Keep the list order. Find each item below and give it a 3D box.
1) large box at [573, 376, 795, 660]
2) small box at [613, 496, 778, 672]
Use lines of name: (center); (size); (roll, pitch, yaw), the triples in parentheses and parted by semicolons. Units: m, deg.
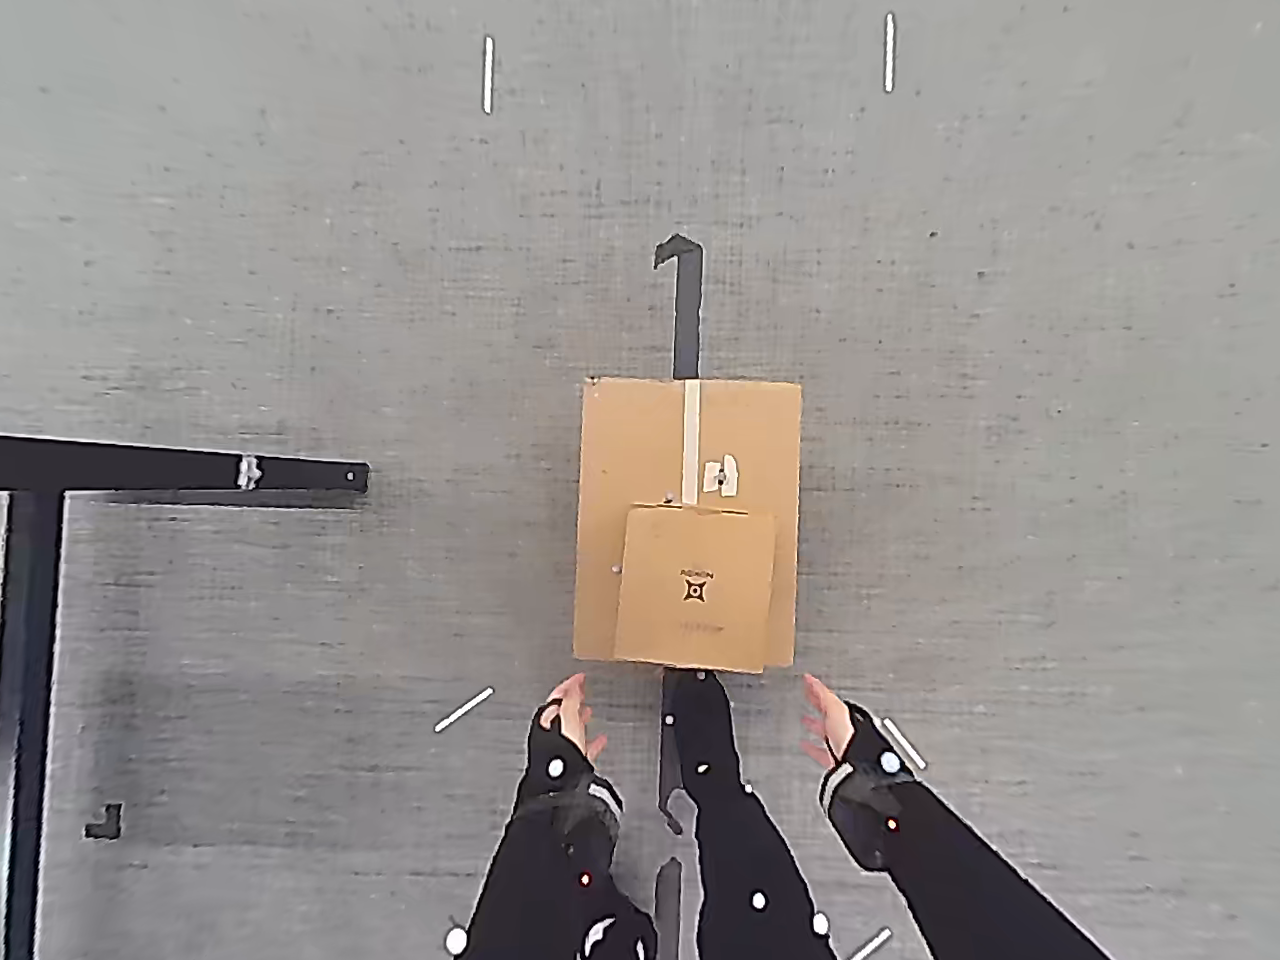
large box: (0.067, 0.060, 0.912); (0.320, 0.320, 0.408); (2, 88, 0)
small box: (0.062, 0.115, 0.665); (0.168, 0.176, 0.179); (6, 89, 3)
